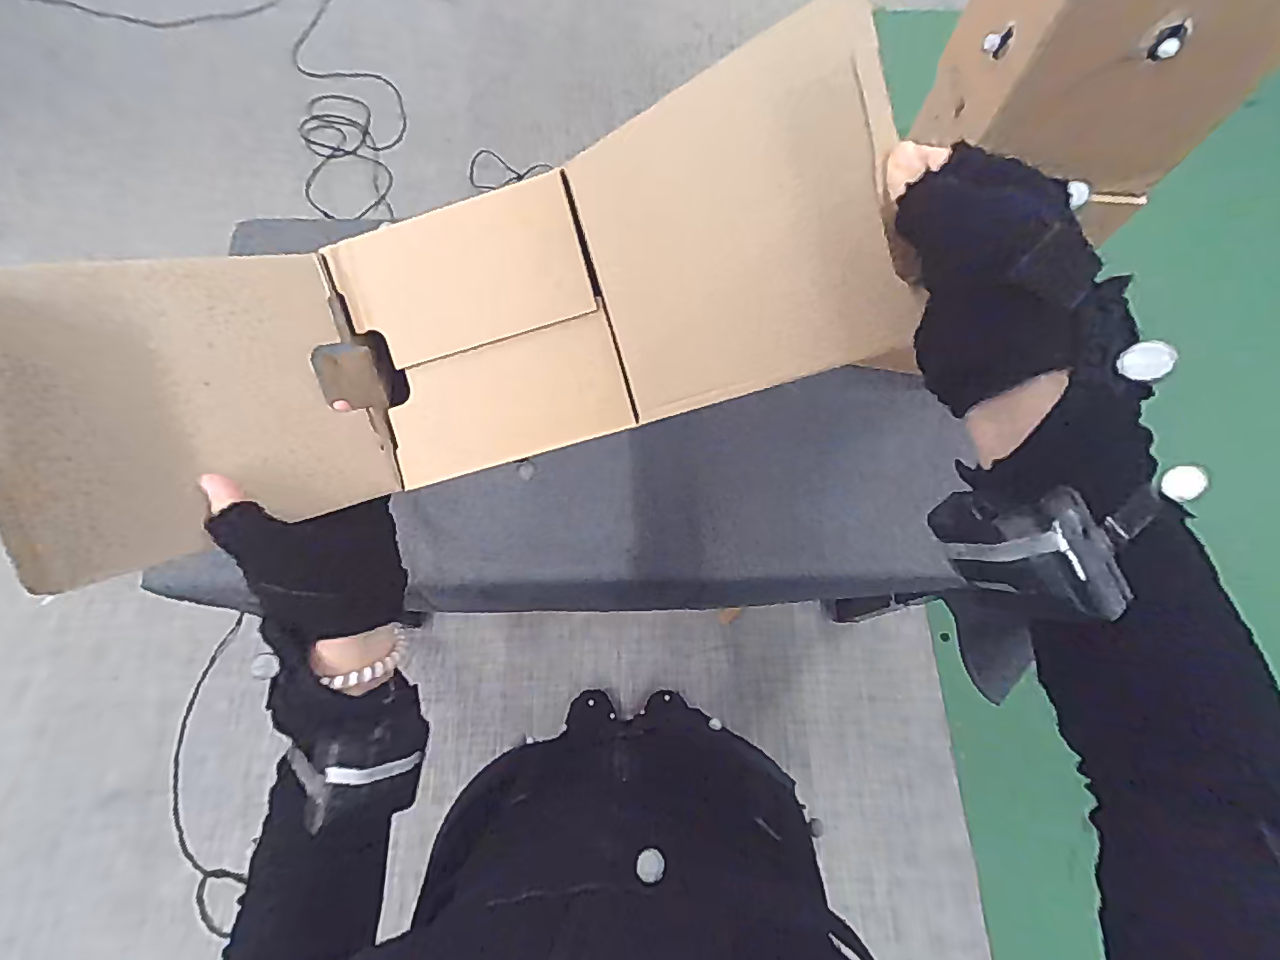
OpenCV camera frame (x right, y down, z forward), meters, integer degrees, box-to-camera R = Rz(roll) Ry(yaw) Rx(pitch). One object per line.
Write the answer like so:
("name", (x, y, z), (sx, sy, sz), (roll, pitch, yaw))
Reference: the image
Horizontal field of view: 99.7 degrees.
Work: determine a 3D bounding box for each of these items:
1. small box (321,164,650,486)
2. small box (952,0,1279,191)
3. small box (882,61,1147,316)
("small box", (-0.095, -0.105, 0.423), (0.179, 0.176, 0.168), (-15, 96, 5))
("small box", (0.377, -0.366, 0.438), (0.179, 0.176, 0.168), (7, 71, 3))
("small box", (0.381, -0.308, 0.590), (0.168, 0.176, 0.179), (4, 71, 2))
